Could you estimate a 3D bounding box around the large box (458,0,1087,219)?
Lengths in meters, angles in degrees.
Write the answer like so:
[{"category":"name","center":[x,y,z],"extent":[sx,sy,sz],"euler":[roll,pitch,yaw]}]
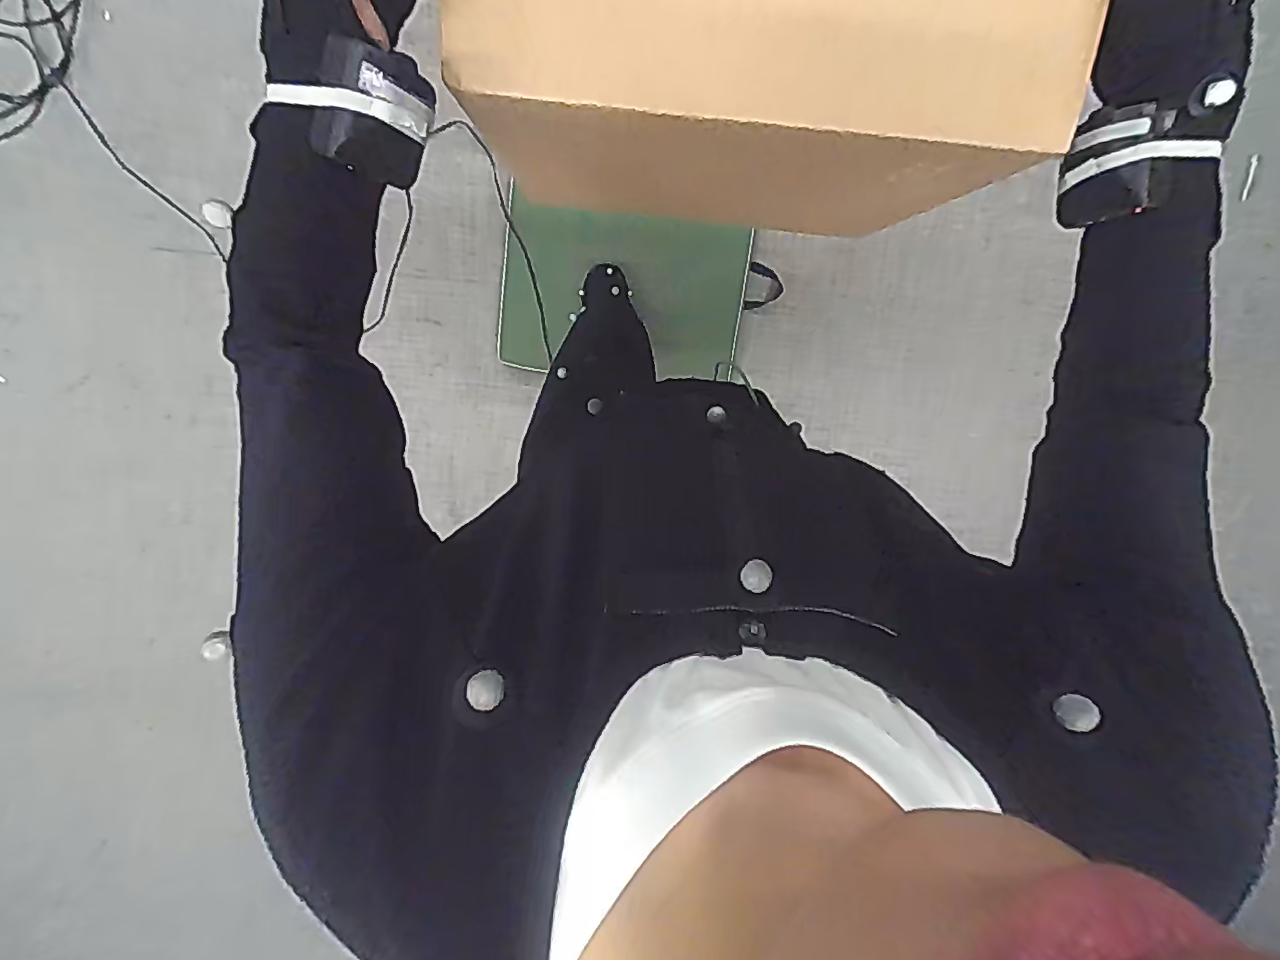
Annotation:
[{"category":"large box","center":[0.084,-0.430,0.456],"extent":[0.408,0.320,0.320],"euler":[3,105,-4]}]
